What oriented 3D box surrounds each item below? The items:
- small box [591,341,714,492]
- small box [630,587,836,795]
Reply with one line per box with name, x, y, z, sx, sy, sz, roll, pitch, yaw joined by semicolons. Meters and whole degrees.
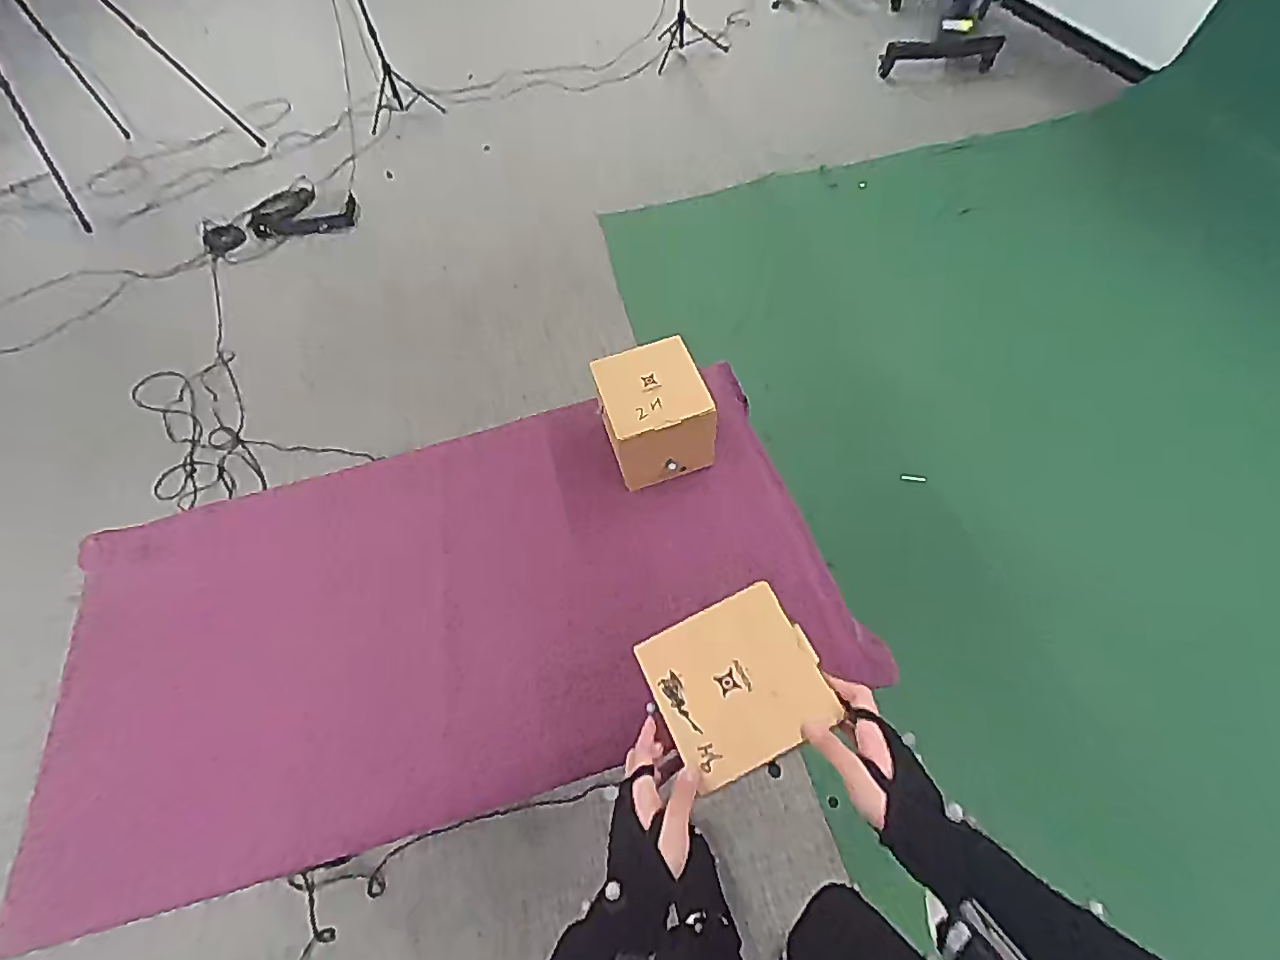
small box;0.024;-0.108;0.956;0.168;0.176;0.179;-19;60;-2
small box;0.108;0.260;0.663;0.179;0.176;0.168;-26;59;-4
